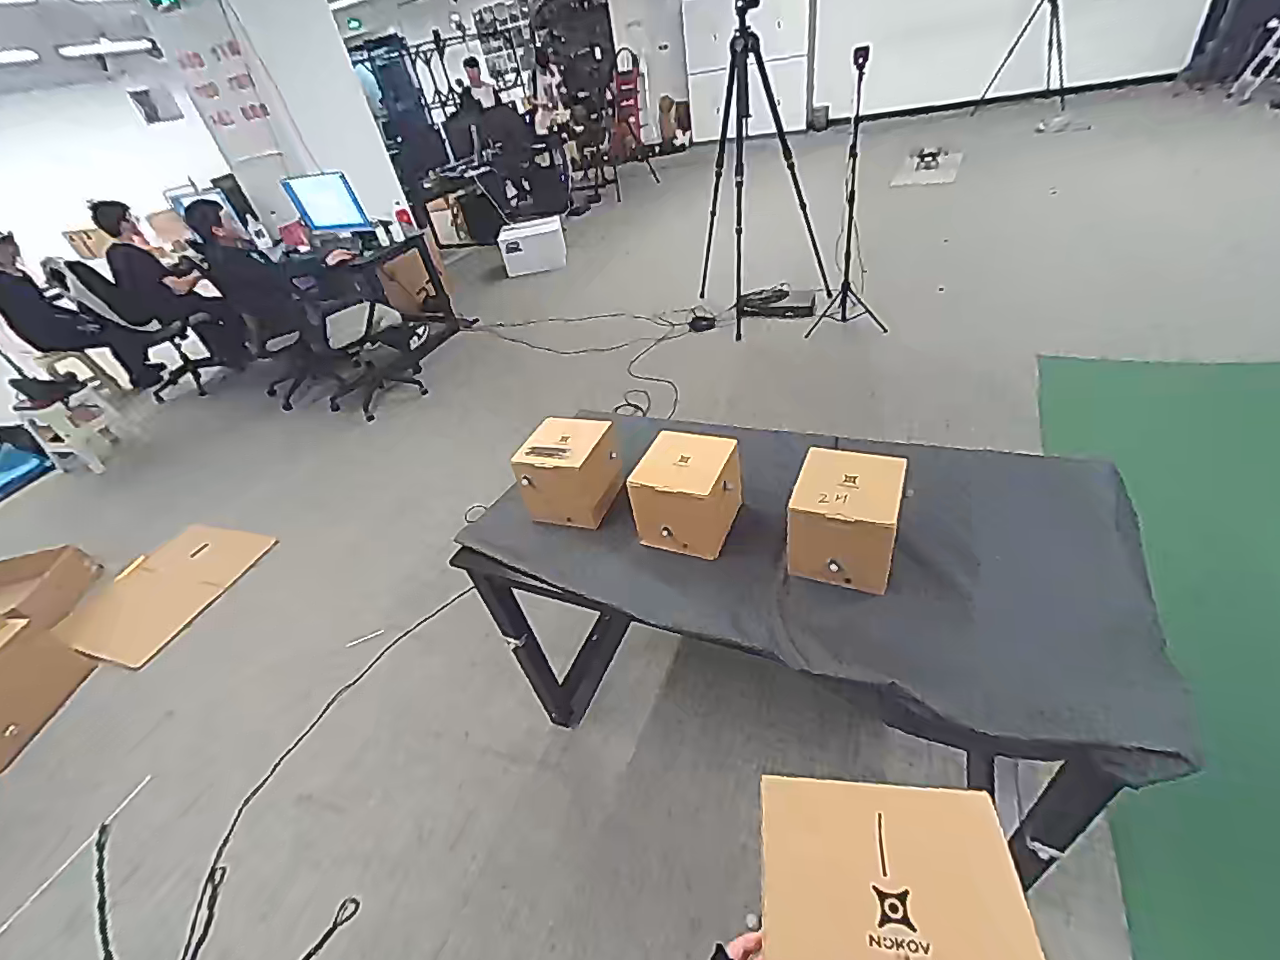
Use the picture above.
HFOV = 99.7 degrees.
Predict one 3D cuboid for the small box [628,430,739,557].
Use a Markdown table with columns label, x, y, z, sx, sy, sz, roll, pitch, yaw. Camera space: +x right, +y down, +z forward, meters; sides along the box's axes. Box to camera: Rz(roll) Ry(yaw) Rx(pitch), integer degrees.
| label | x | y | z | sx | sy | sz | roll | pitch | yaw |
| --- | --- | --- | --- | --- | --- | --- | --- | --- | --- |
| small box | 0.094 | 0.024 | 1.085 | 0.168 | 0.176 | 0.179 | 11 | 44 | 24 |

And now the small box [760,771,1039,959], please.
| label | x | y | z | sx | sy | sz | roll | pitch | yaw |
| --- | --- | --- | --- | --- | --- | --- | --- | --- | --- |
| small box | 0.175 | 0.347 | 0.396 | 0.168 | 0.176 | 0.179 | -2 | 37 | 13 |

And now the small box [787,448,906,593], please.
| label | x | y | z | sx | sy | sz | roll | pitch | yaw |
| --- | --- | --- | --- | --- | --- | --- | --- | --- | --- |
| small box | 0.362 | 0.069 | 0.961 | 0.168 | 0.176 | 0.179 | 10 | 44 | 25 |
